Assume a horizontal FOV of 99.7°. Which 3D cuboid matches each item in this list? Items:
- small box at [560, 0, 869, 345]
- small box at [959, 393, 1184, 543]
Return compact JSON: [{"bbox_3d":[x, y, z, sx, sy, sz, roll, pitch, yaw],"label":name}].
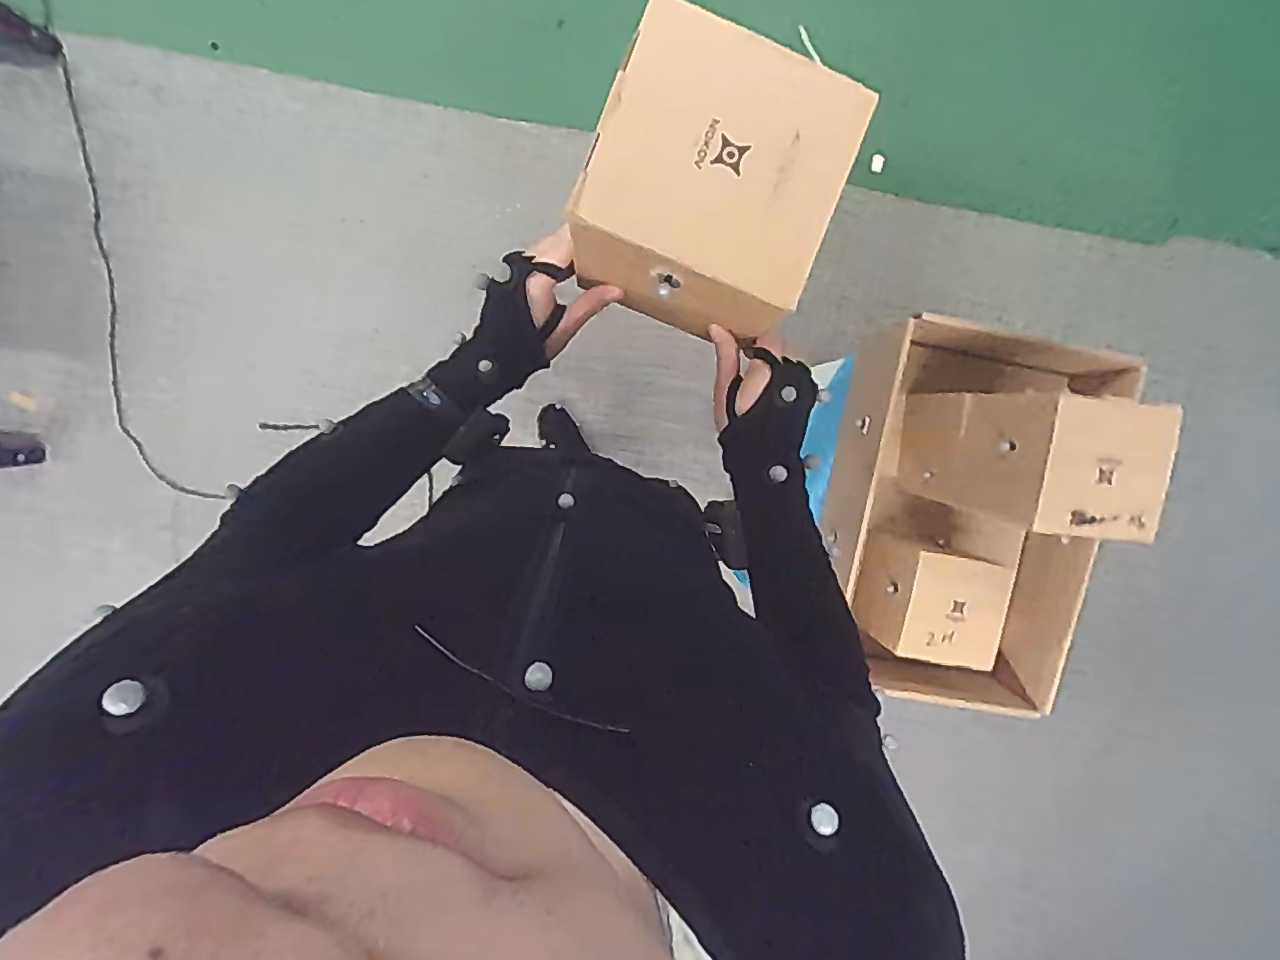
[{"bbox_3d":[0.048,-0.230,0.457,0.179,0.176,0.168,21,91,-5],"label":"small box"},{"bbox_3d":[0.578,-0.022,0.750,0.168,0.176,0.179,5,97,-3],"label":"small box"}]
